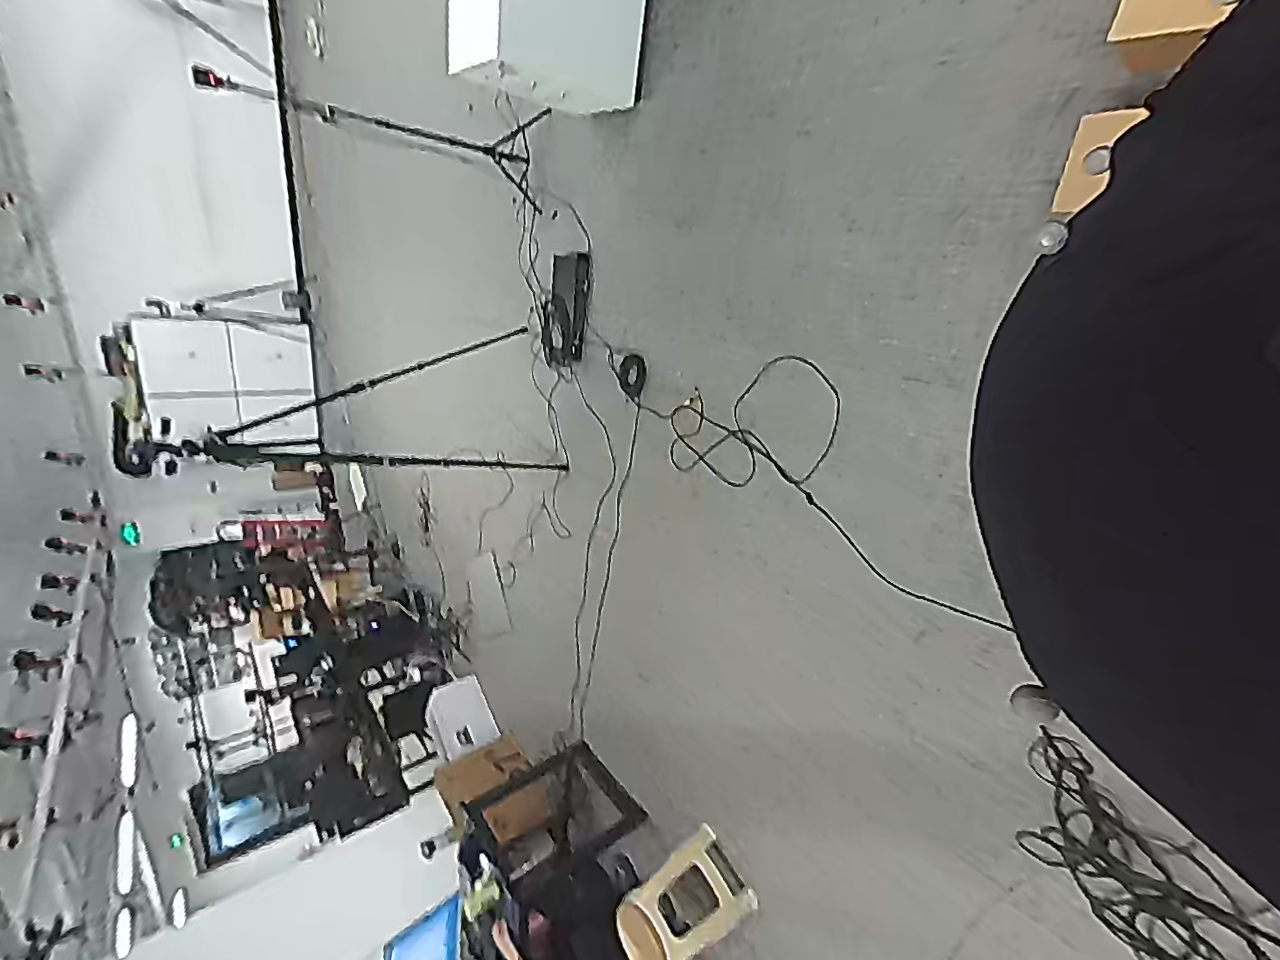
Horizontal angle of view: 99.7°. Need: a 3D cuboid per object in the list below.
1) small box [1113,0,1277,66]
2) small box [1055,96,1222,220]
[{"bbox_3d":[0.961,-0.836,0.918,0.179,0.176,0.168,29,120,43],"label":"small box"},{"bbox_3d":[0.928,-0.586,1.009,0.179,0.176,0.168,27,119,44],"label":"small box"}]
